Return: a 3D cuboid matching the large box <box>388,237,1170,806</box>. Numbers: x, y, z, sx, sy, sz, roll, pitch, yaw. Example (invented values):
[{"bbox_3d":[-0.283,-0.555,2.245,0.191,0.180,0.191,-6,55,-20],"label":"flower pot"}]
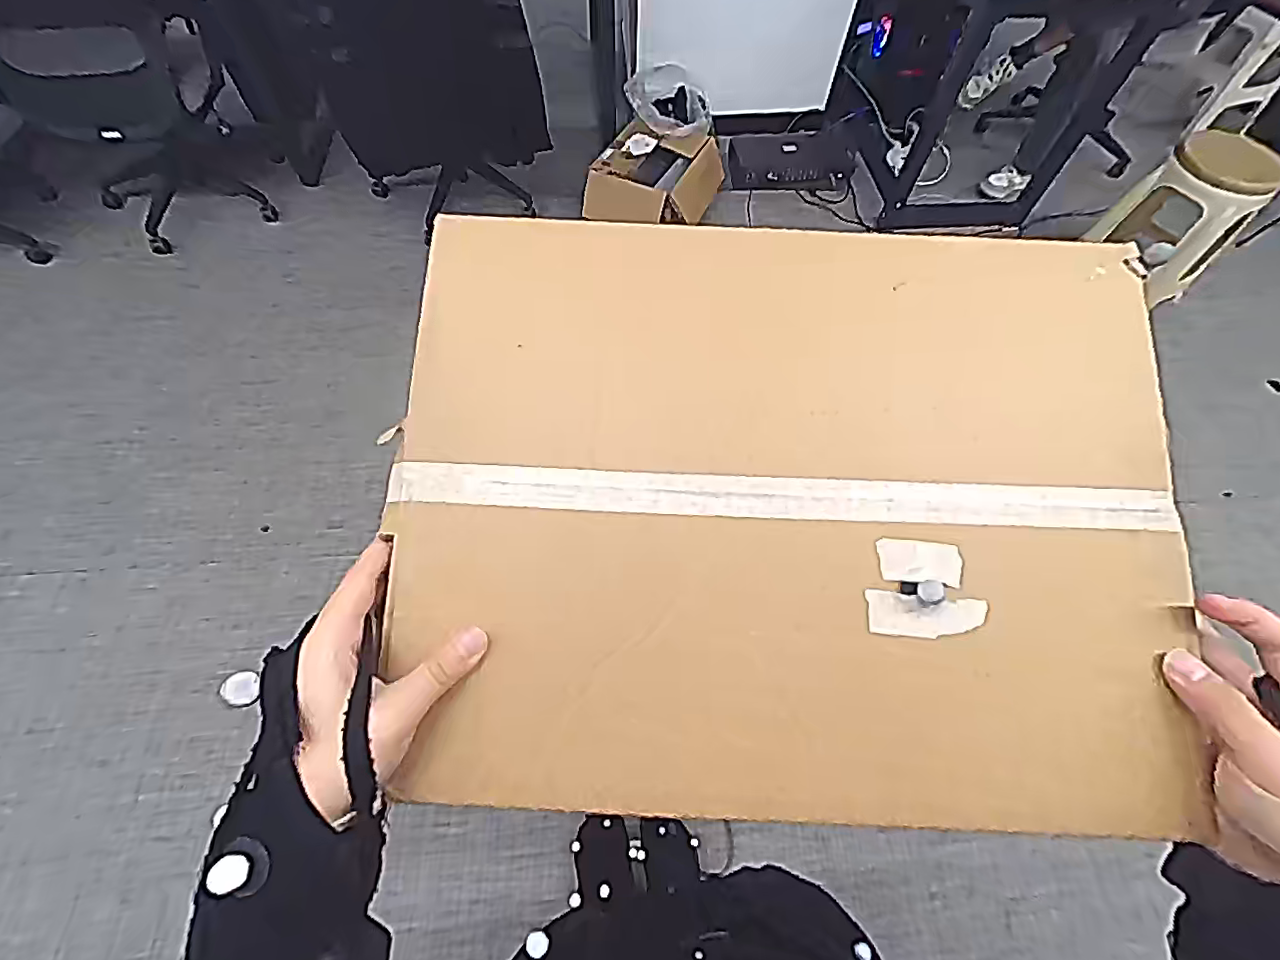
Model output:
[{"bbox_3d":[0.072,0.037,0.444,0.408,0.320,0.320,2,80,0],"label":"large box"}]
